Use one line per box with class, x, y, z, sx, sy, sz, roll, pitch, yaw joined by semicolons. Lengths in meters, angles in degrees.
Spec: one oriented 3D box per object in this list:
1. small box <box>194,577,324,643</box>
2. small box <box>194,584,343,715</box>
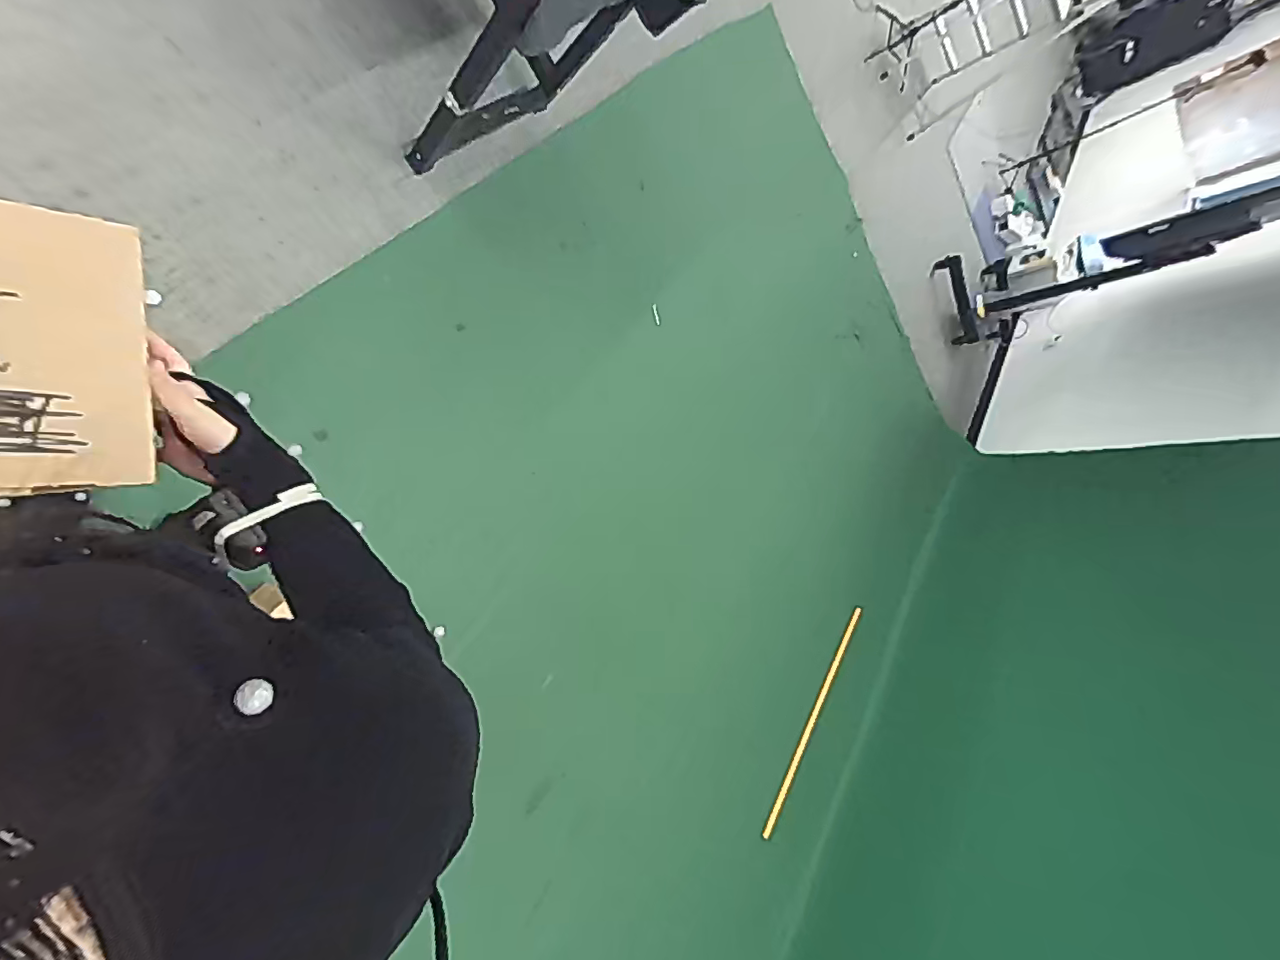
small box;-0.848;0.332;1.201;0.168;0.176;0.179;-51;120;-30
small box;-0.739;0.325;1.077;0.168;0.176;0.179;-48;118;-31
